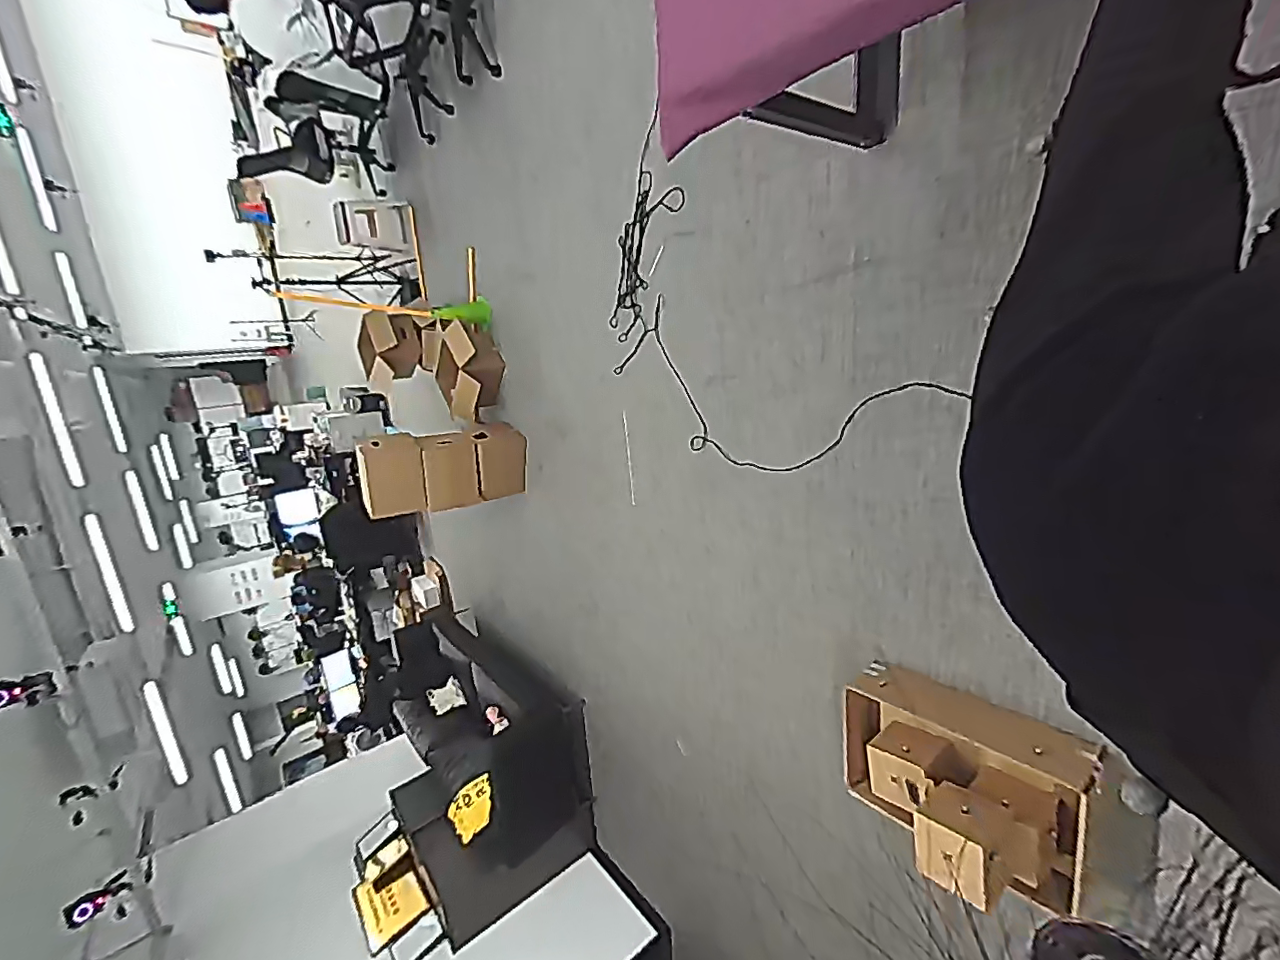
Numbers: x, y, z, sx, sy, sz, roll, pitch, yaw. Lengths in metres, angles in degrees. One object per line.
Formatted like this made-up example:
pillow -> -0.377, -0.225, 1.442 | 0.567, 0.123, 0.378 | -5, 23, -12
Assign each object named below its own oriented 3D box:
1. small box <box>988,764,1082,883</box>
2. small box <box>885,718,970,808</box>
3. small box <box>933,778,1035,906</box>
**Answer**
small box -> 1.029, 0.887, 1.418 | 0.179, 0.176, 0.168 | 6, 106, 56
small box -> 0.870, 0.849, 1.626 | 0.179, 0.176, 0.168 | 0, 101, 54
small box -> 0.867, 0.898, 1.363 | 0.168, 0.176, 0.179 | 4, 104, 56
